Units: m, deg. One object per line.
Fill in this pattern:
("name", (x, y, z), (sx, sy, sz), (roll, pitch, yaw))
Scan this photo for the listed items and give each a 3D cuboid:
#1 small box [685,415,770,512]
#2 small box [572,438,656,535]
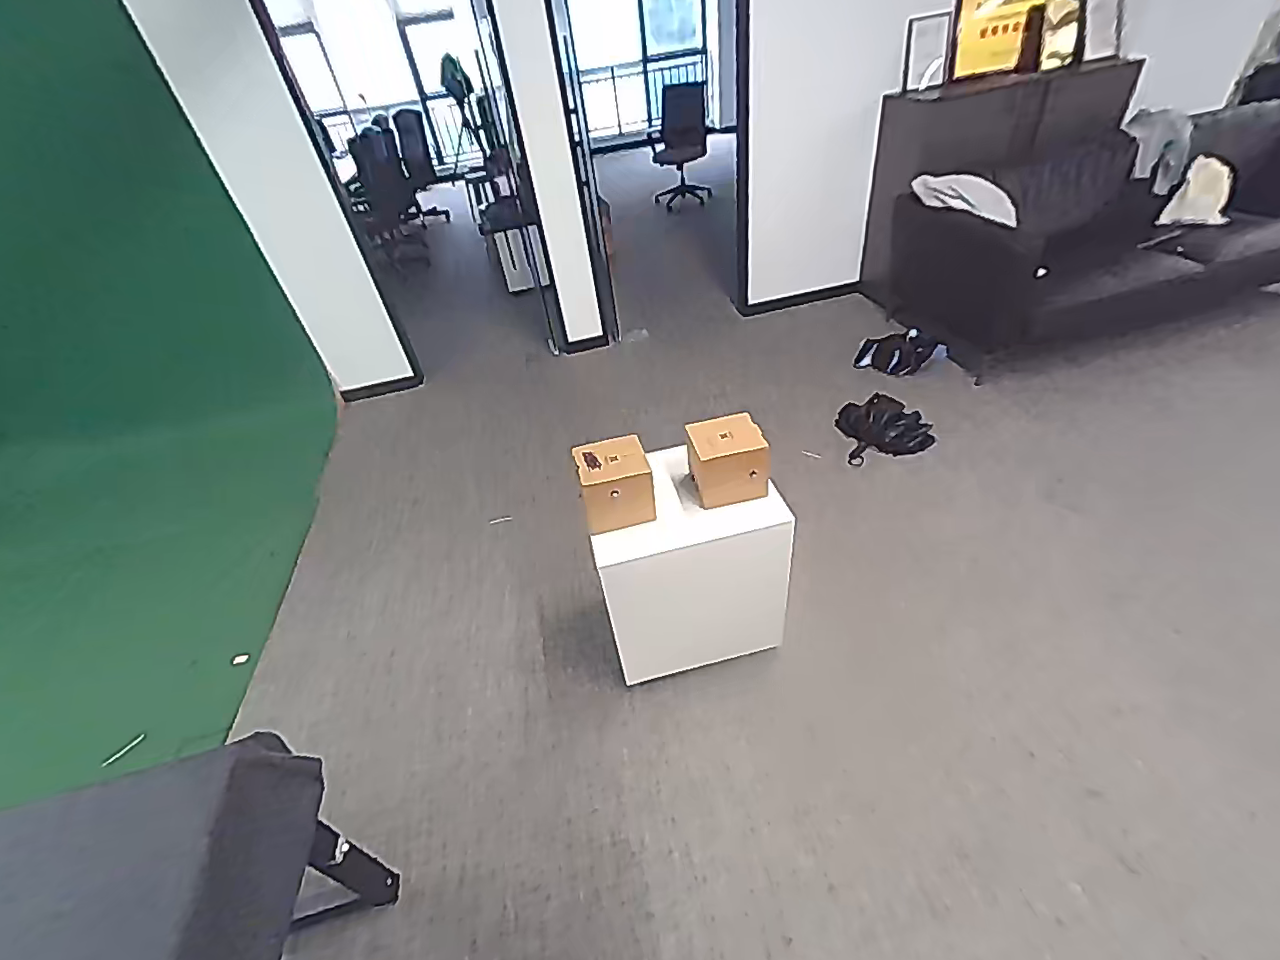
("small box", (0.226, -0.041, 1.413), (0.179, 0.176, 0.168), (-14, 39, -3))
("small box", (-0.065, 0.020, 1.390), (0.179, 0.176, 0.168), (-13, 40, -8))
